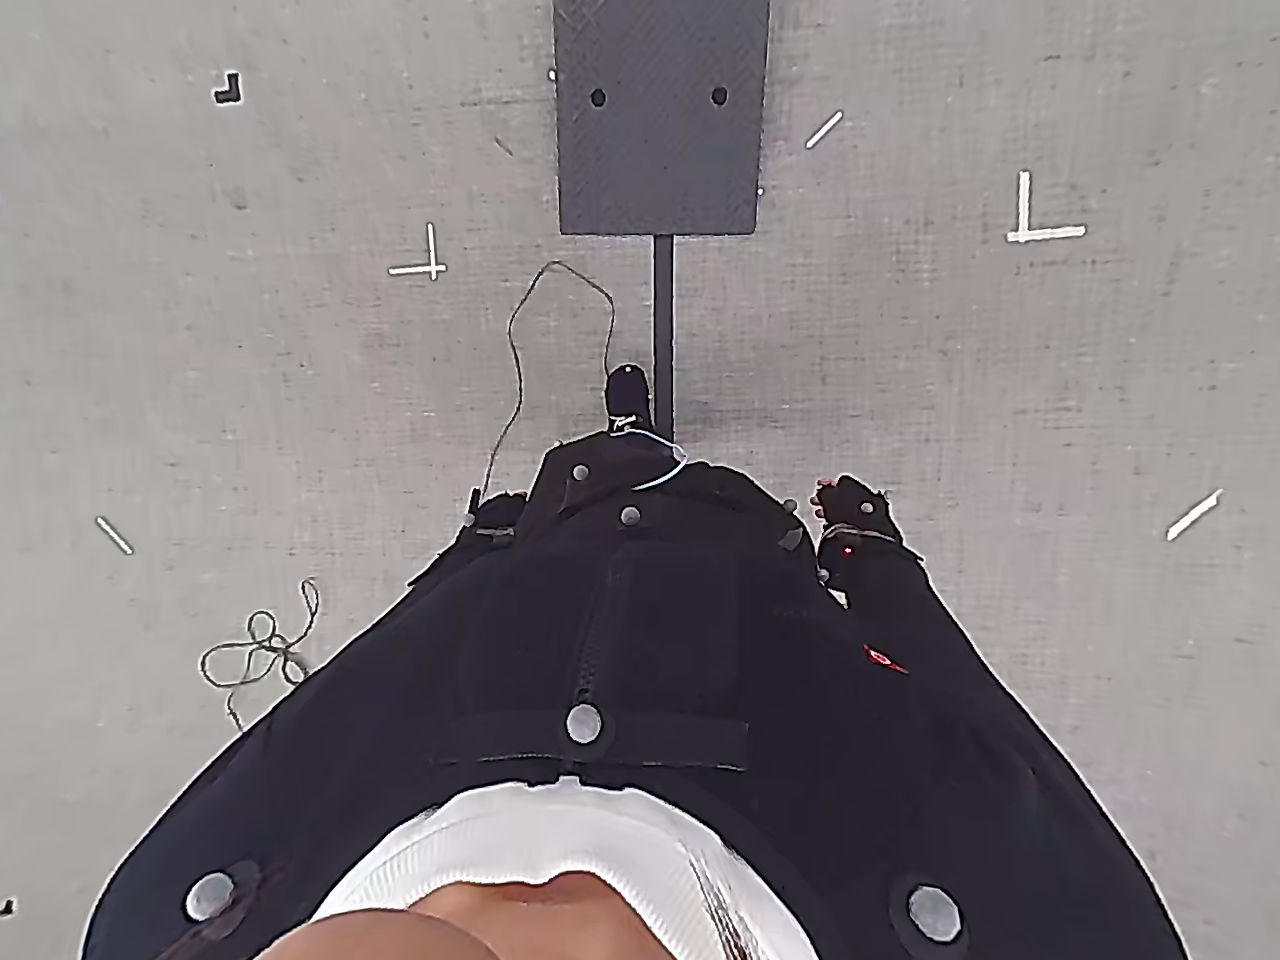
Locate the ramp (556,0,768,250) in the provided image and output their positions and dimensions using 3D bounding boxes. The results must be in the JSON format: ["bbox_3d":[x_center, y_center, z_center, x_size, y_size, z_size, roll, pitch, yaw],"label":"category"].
[{"bbox_3d":[0.050,-1.077,1.248,0.509,0.206,0.991,-1,96,4],"label":"ramp"}]
